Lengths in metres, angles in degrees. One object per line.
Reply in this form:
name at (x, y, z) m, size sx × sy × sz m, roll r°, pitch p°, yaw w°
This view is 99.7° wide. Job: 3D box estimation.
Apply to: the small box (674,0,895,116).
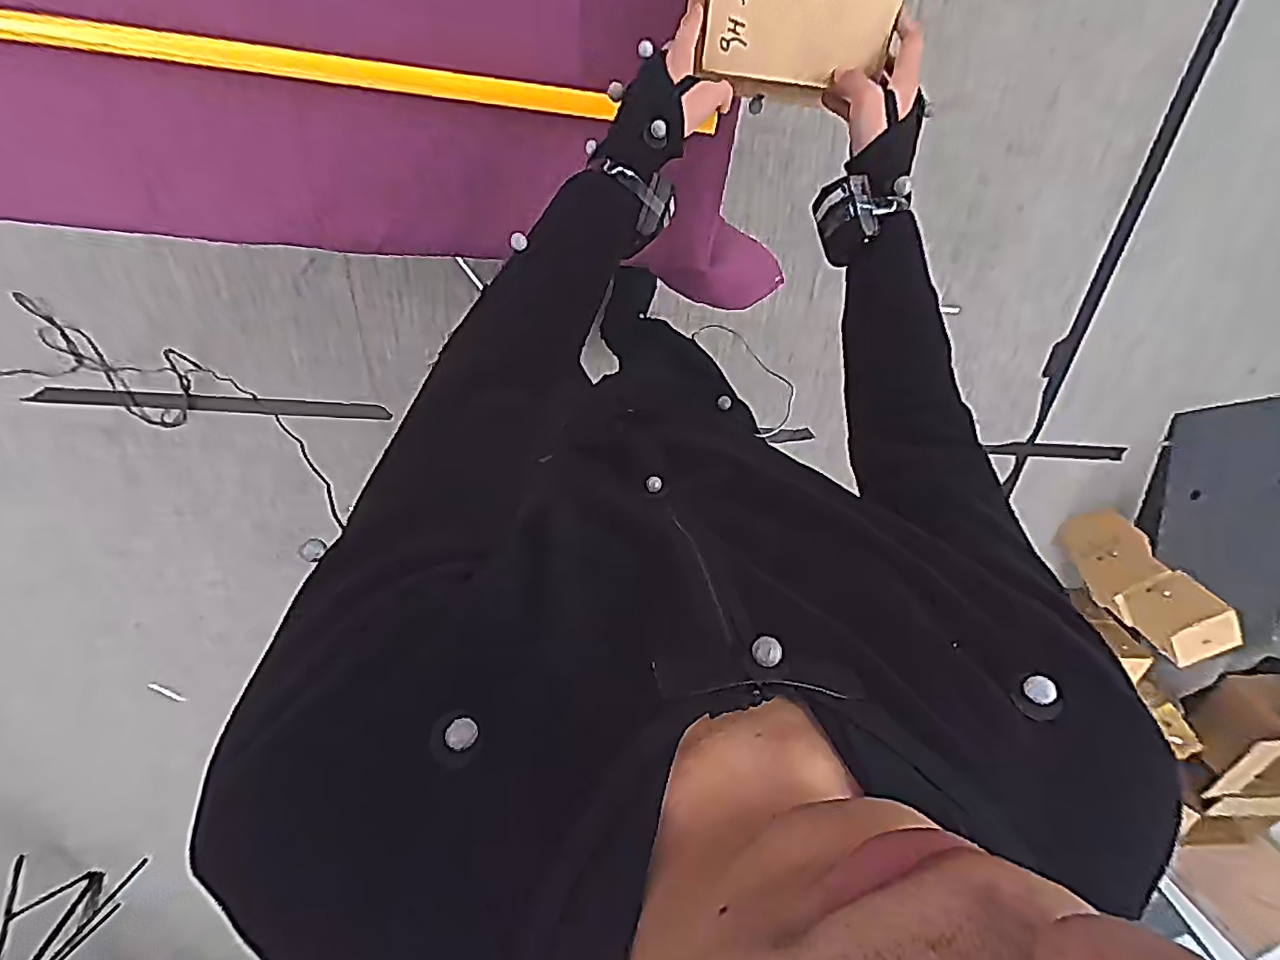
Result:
small box at (0.141, -0.482, 0.552) m, size 0.179 × 0.176 × 0.168 m, roll 4°, pitch 121°, yaw -7°
